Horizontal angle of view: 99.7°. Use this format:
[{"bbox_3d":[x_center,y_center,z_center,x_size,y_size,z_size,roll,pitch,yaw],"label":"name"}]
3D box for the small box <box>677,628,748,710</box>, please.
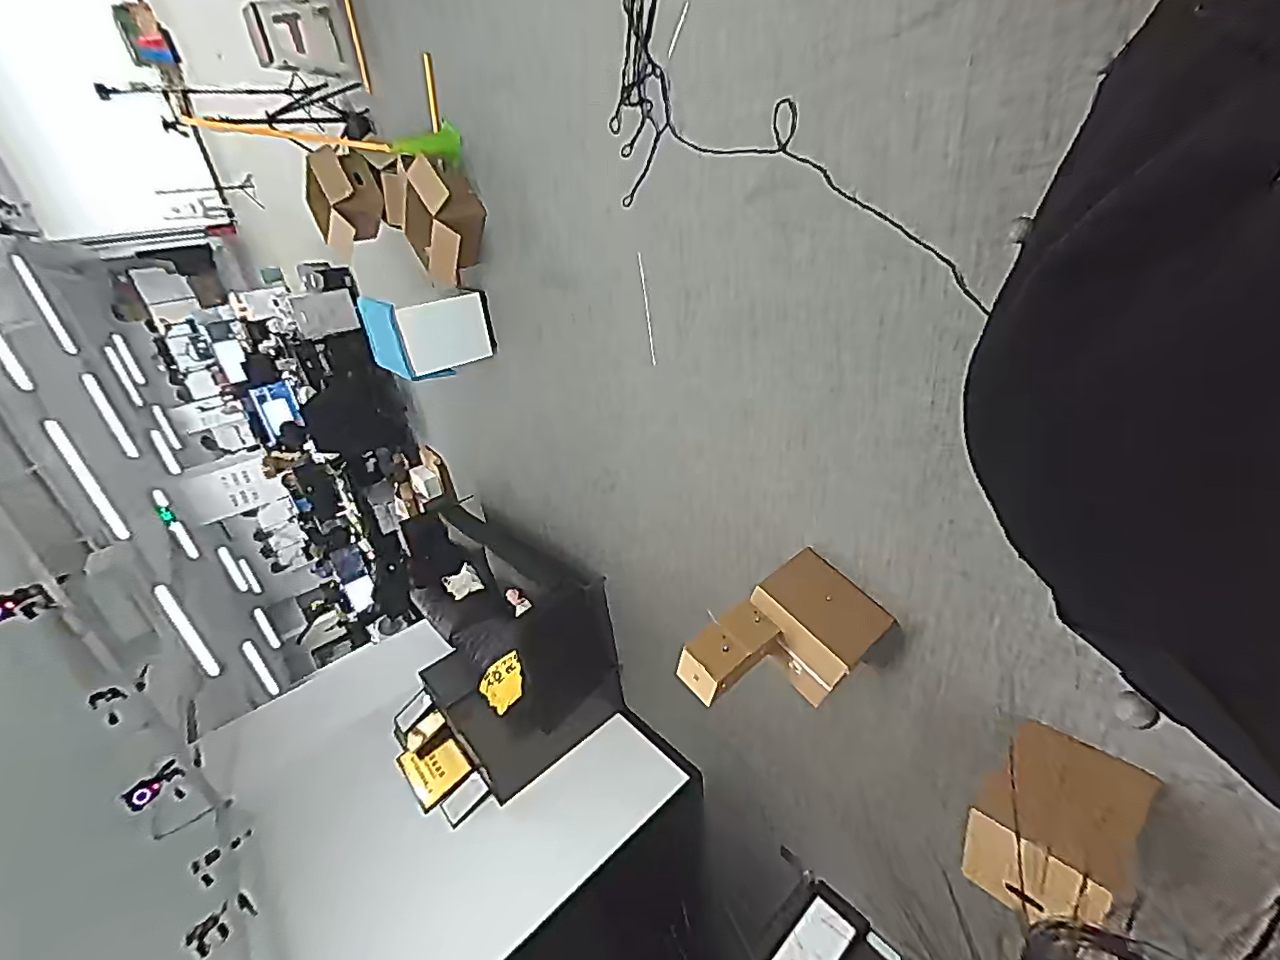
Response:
[{"bbox_3d":[0.254,0.655,1.887,0.168,0.176,0.179,40,140,32],"label":"small box"}]
